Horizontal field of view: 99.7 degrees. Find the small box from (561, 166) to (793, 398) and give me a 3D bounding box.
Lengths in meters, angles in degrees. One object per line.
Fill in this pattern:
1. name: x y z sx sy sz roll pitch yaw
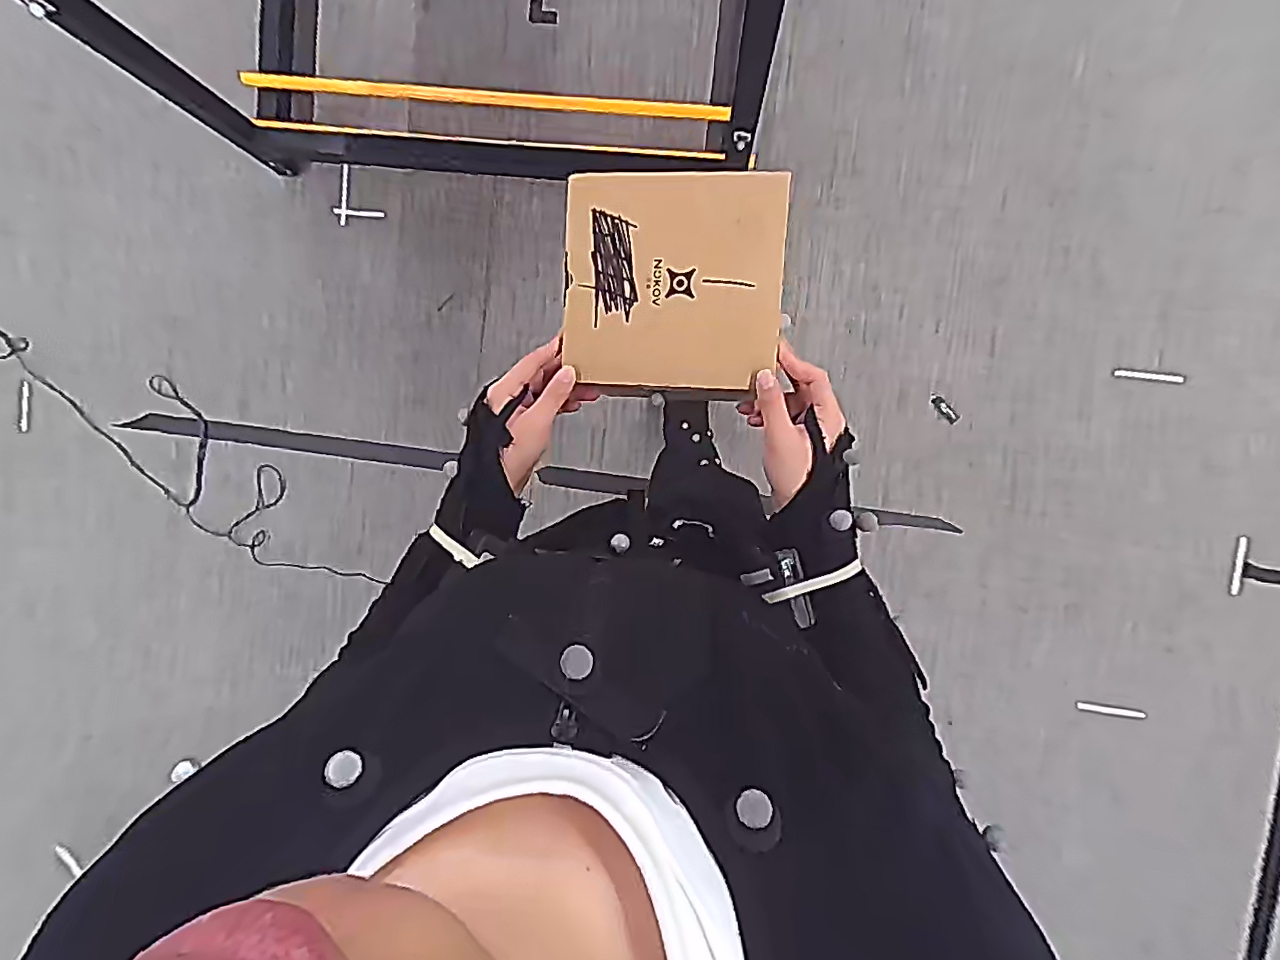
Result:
1. small box: 0.038 -0.166 0.502 0.179 0.176 0.168 4 96 9
